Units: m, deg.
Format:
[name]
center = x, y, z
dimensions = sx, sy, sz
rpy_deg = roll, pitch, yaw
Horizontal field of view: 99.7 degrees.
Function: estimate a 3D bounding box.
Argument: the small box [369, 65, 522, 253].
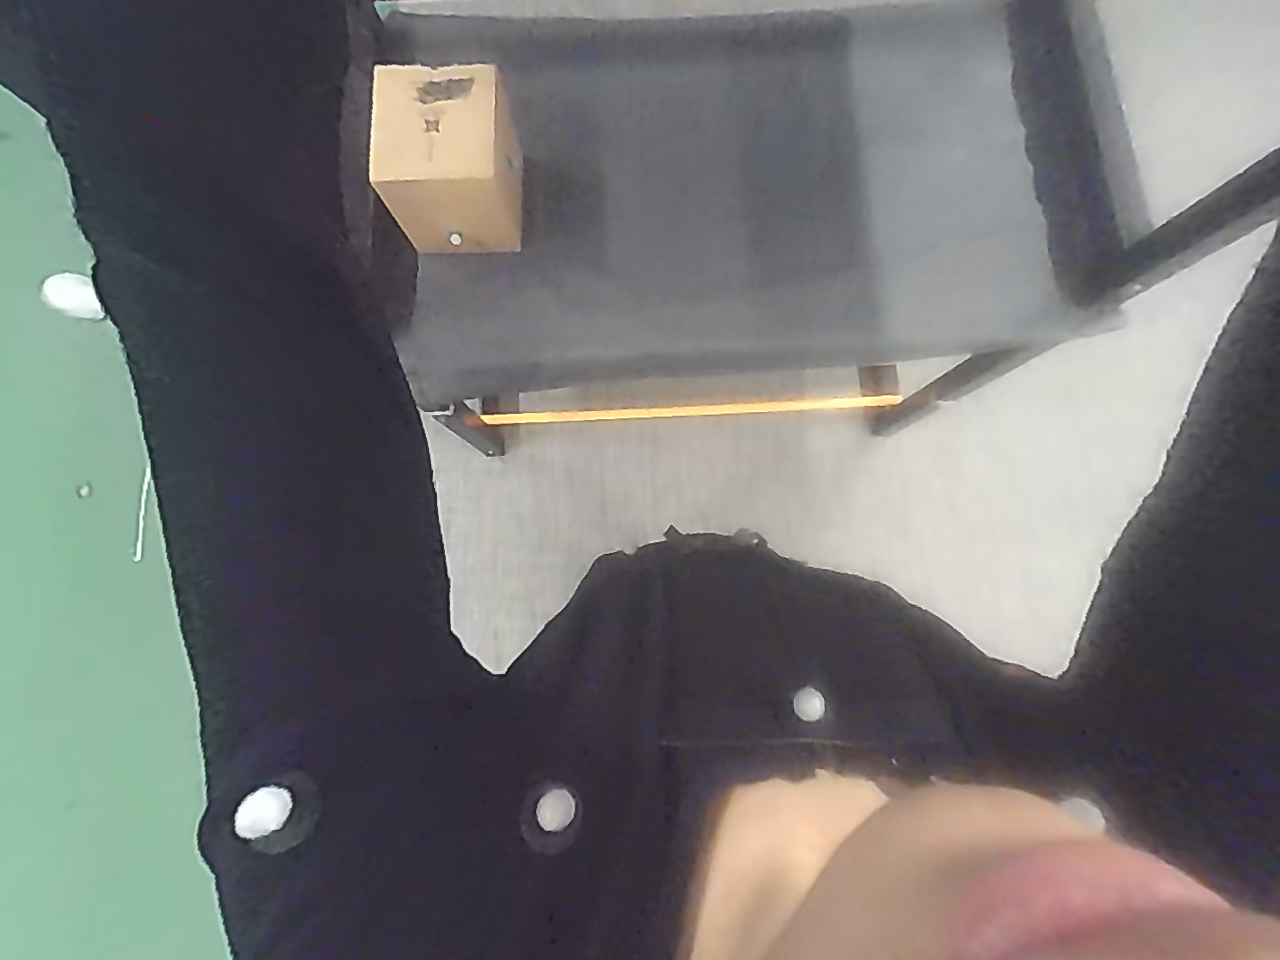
[small box]
center = -0.273, -0.461, 0.795
dimensions = 0.168, 0.176, 0.179
rpy_deg = -2, 81, 0
